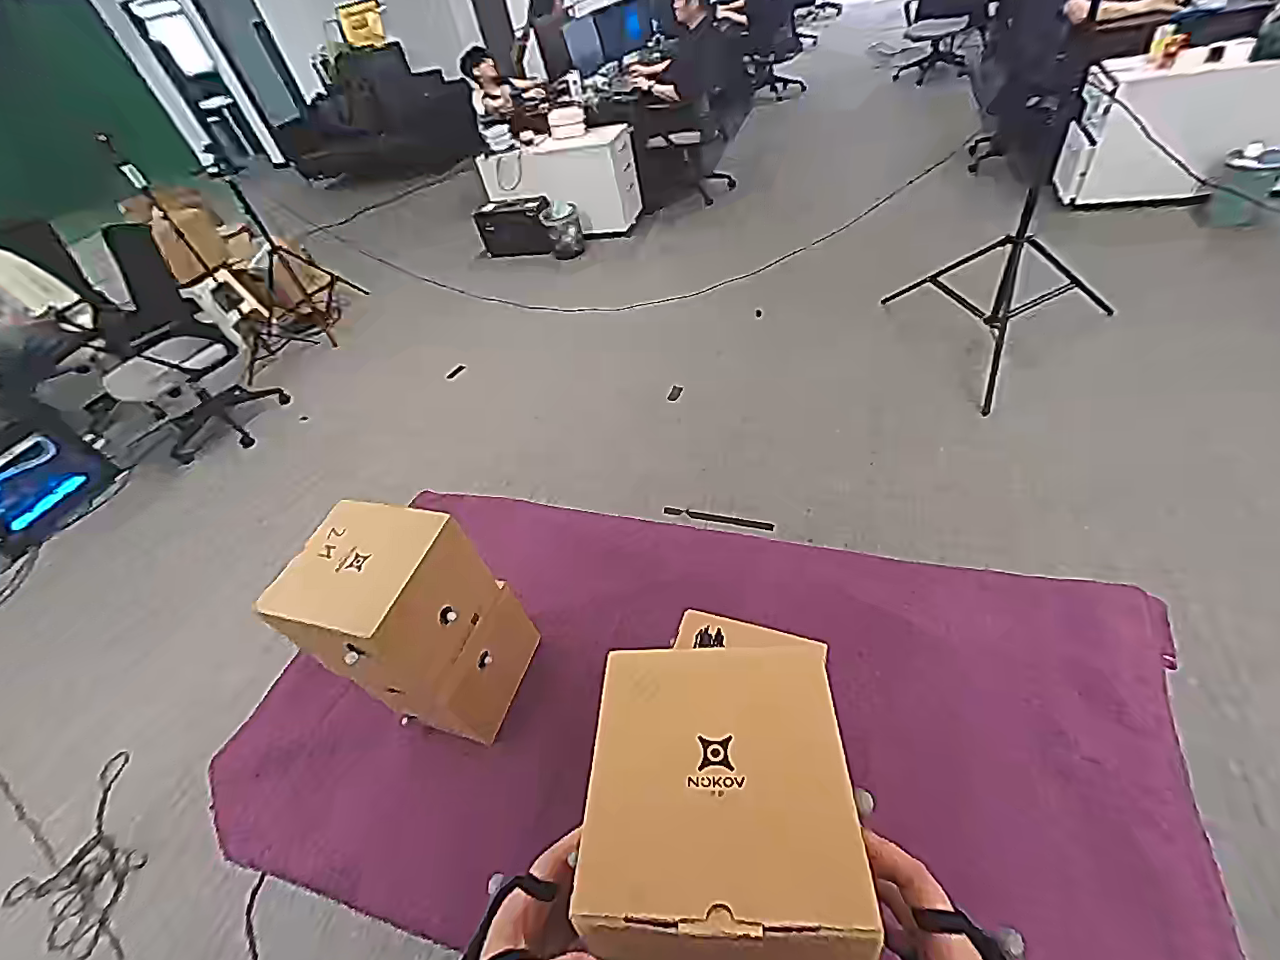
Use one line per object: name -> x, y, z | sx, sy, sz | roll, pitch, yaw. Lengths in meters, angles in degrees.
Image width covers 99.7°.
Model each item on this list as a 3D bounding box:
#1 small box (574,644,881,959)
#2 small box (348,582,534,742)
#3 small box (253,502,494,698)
small box -> 0.061, 0.245, 0.398 | 0.168, 0.176, 0.179 | -5, 36, 9
small box -> -0.278, 0.259, 0.798 | 0.168, 0.176, 0.179 | 6, 48, 19
small box -> -0.312, 0.151, 0.677 | 0.179, 0.176, 0.168 | 5, 48, 19
